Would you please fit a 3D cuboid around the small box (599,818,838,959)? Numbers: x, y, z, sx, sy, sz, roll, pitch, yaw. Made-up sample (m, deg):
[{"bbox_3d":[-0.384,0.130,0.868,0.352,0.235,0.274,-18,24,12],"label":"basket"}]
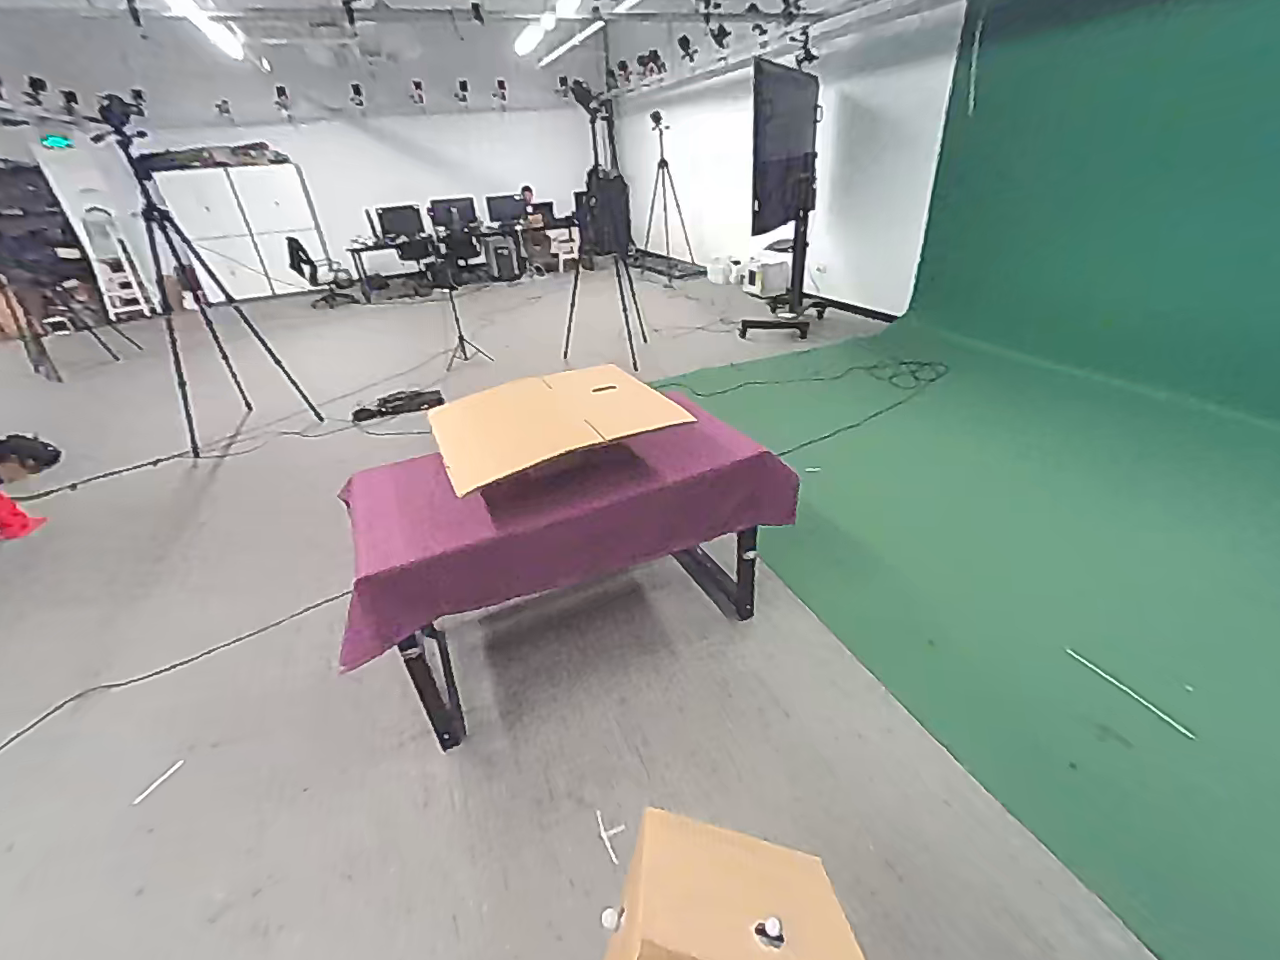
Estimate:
[{"bbox_3d":[0.058,0.418,0.443,0.179,0.168,0.176,14,-2,3],"label":"small box"}]
